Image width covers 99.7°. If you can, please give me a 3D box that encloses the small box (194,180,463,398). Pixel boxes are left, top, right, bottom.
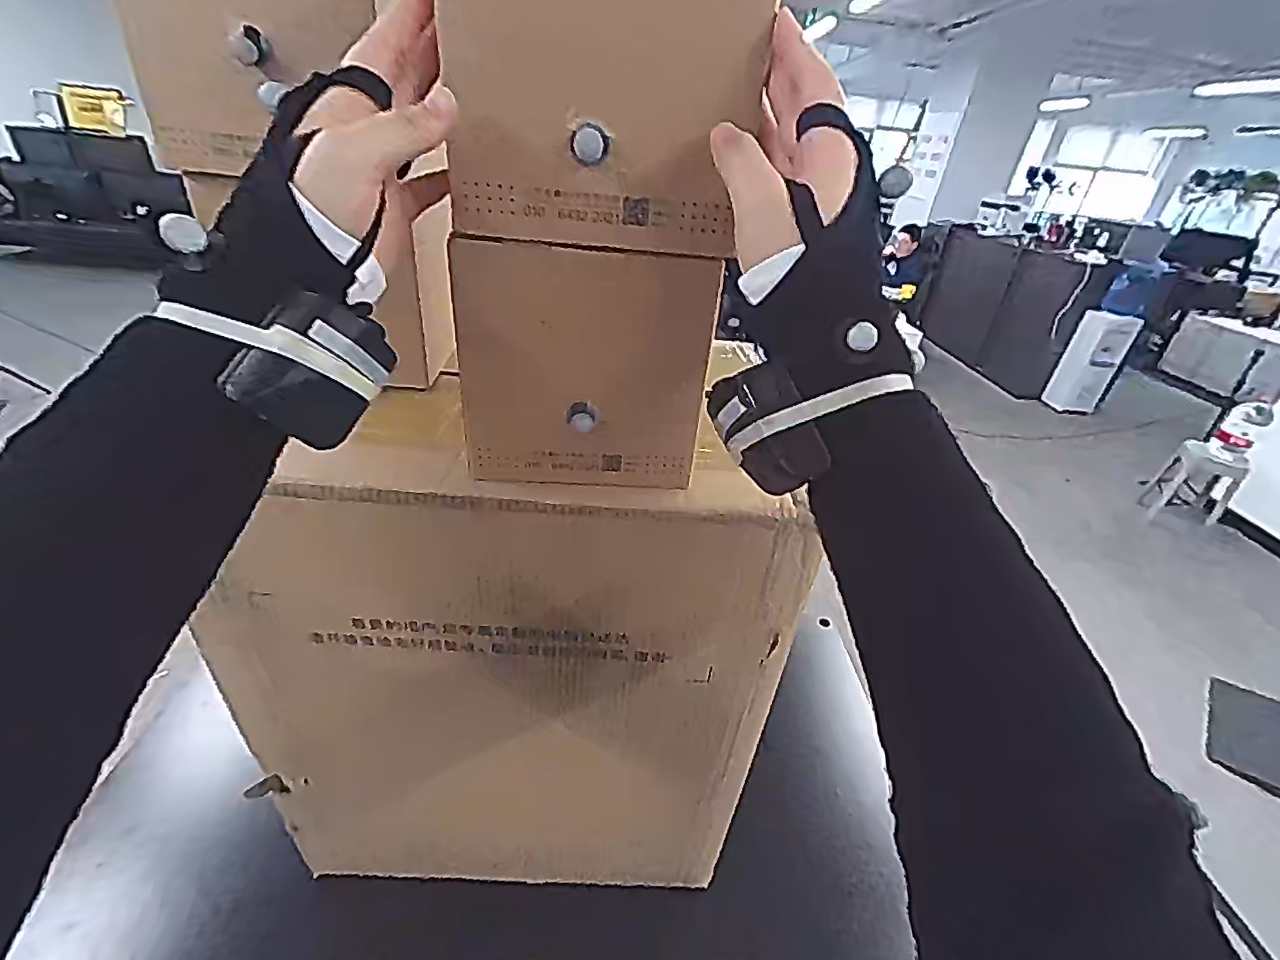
[{"bbox_3d":[-0.276,-0.195,0.532,0.168,0.176,0.179,1,33,-7],"label":"small box"}]

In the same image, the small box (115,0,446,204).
[{"bbox_3d":[-0.263,-0.326,0.433,0.168,0.176,0.179,2,32,-6],"label":"small box"}]

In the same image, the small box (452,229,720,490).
[{"bbox_3d":[-0.041,-0.110,0.437,0.168,0.176,0.179,2,32,-4],"label":"small box"}]

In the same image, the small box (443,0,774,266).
[{"bbox_3d":[-0.022,-0.246,0.346,0.168,0.176,0.179,2,33,-4],"label":"small box"}]
